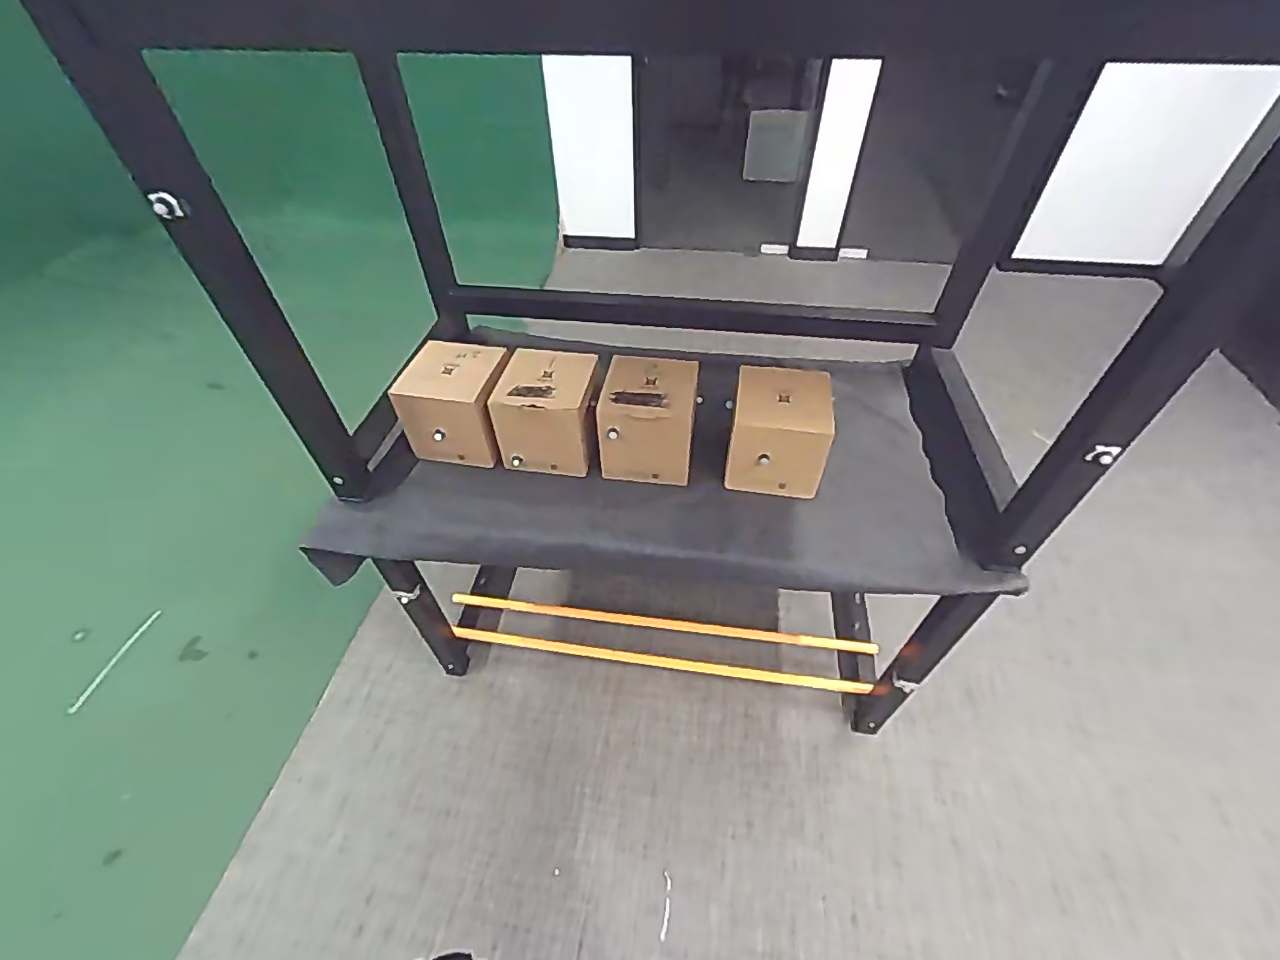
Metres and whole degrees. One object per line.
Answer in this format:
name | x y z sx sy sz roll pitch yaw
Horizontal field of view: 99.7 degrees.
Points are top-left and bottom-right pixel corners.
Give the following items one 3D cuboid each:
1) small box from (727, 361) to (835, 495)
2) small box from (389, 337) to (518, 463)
small box | 0.255 -0.094 0.997 0.168 0.176 0.179 8 47 7
small box | -0.350 -0.155 1.061 0.168 0.176 0.179 9 47 7
